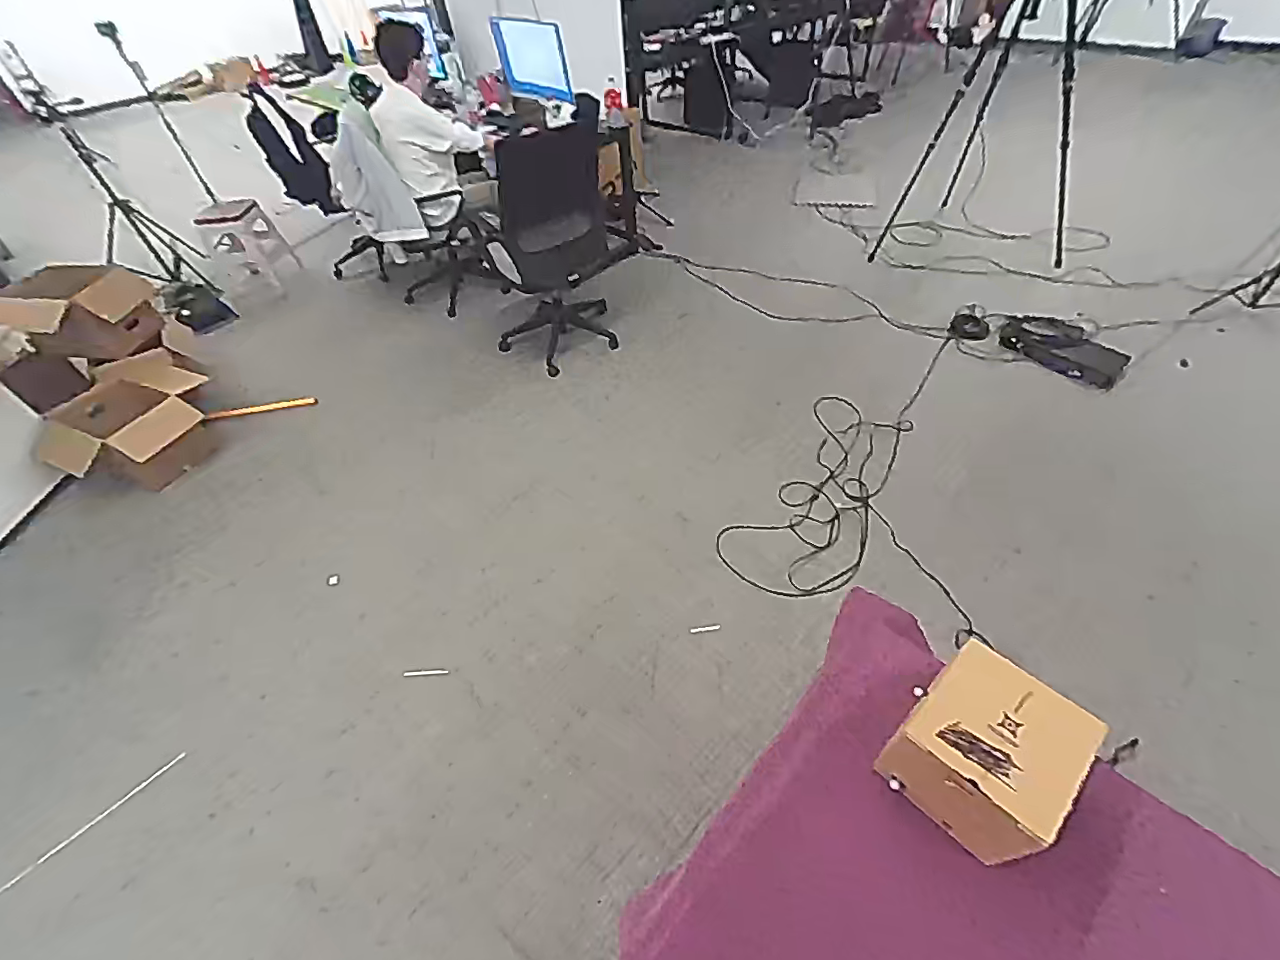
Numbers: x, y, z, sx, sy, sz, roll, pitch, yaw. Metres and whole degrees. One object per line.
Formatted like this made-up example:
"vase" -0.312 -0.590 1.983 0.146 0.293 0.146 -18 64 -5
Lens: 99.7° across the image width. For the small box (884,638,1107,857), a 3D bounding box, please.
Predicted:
"small box" 0.446 0.352 0.708 0.179 0.176 0.168 -37 55 -24
